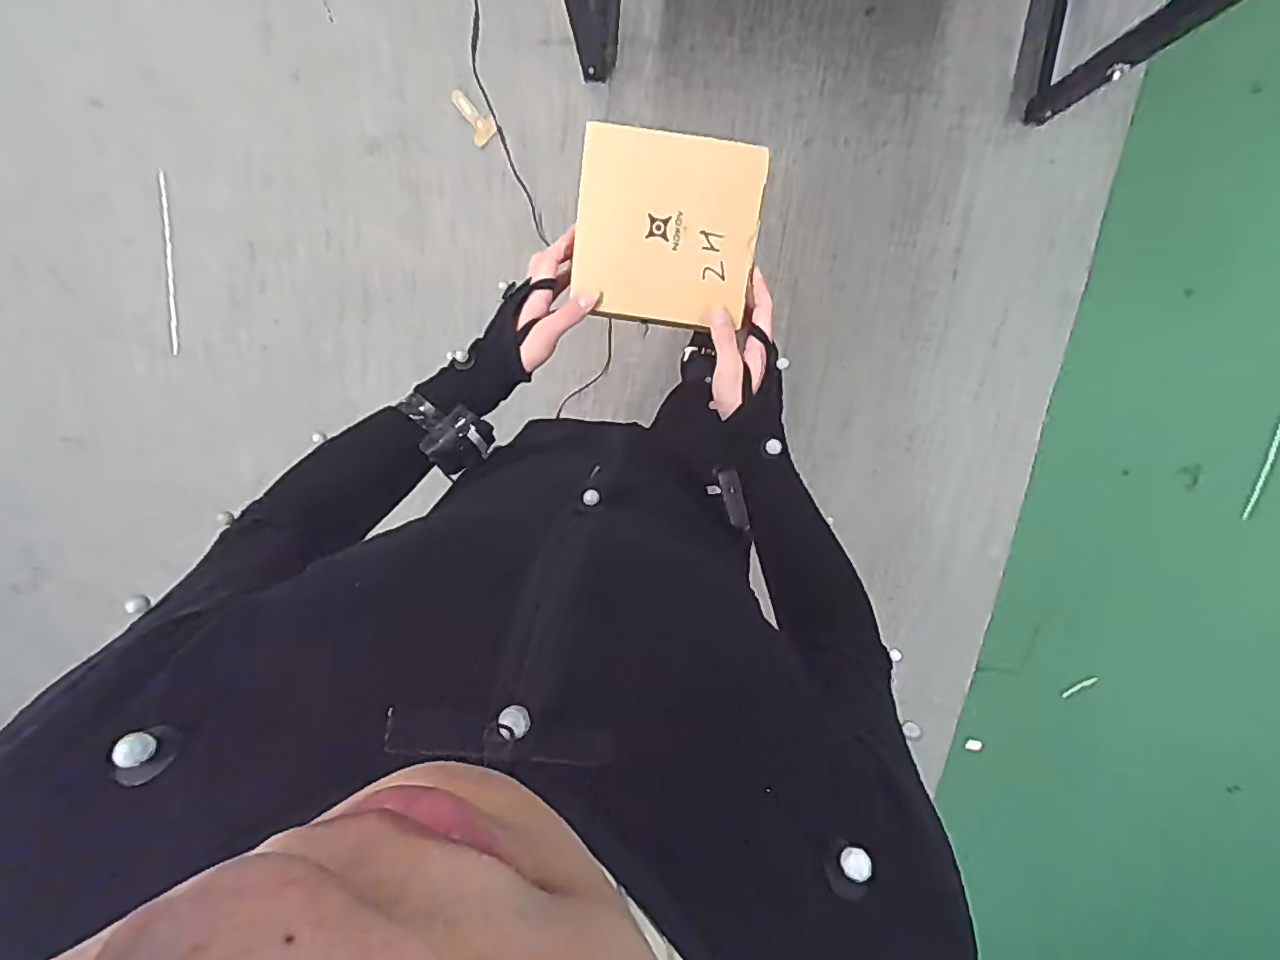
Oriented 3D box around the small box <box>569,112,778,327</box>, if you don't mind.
[{"bbox_3d":[0.029,-0.262,0.585,0.179,0.176,0.168,8,105,-2],"label":"small box"}]
